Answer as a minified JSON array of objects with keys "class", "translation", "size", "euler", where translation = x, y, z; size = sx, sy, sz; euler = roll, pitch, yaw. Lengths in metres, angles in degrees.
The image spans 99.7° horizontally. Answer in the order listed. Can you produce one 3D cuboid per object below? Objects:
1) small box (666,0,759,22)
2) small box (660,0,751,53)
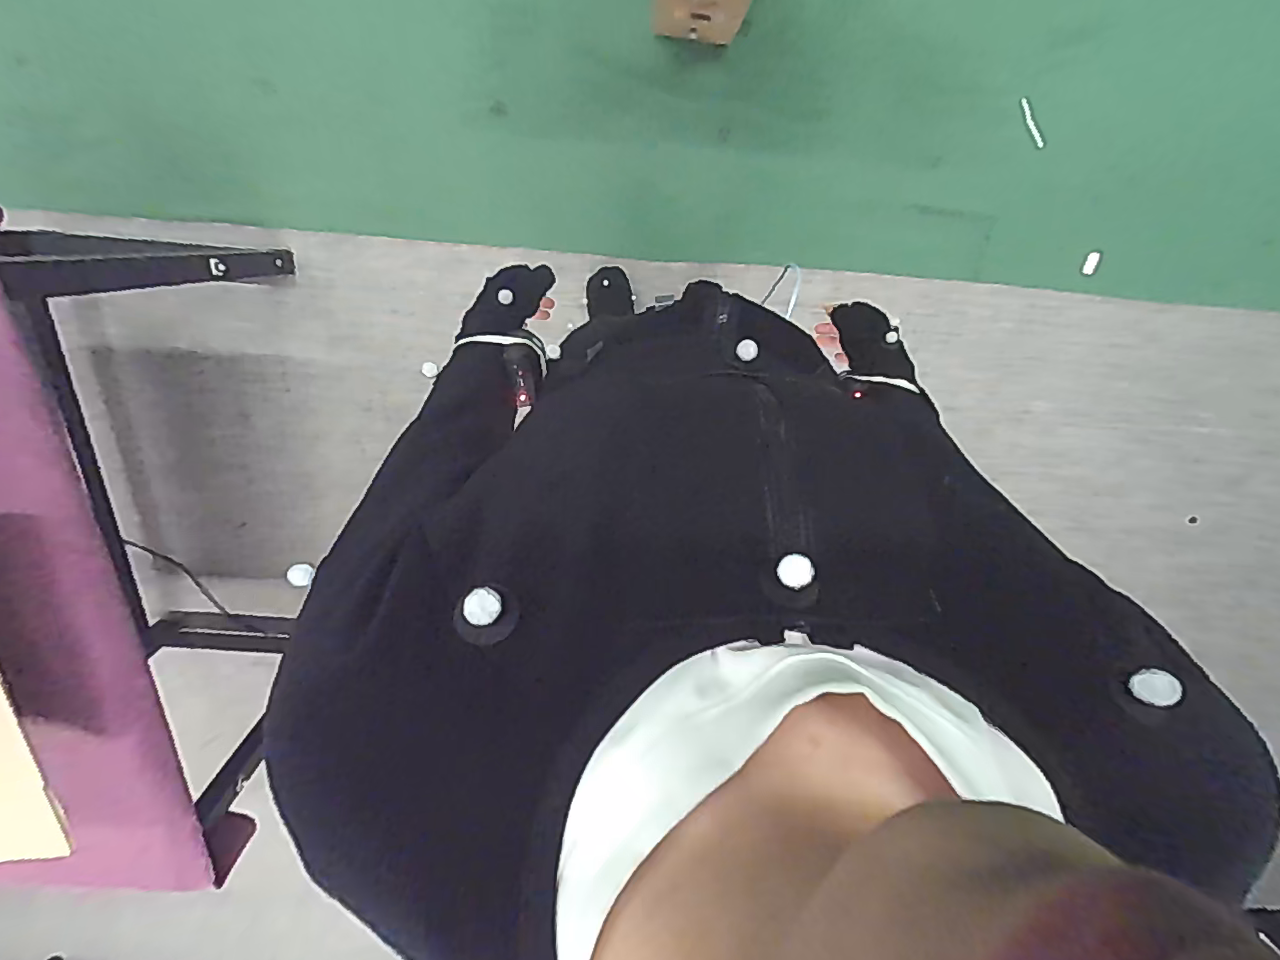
[{"class":"small box","translation":[0.133,-0.907,0.894],"size":[0.168,0.176,0.179],"euler":[4,113,-3]},{"class":"small box","translation":[0.132,-0.970,1.044],"size":[0.168,0.176,0.179],"euler":[6,113,-3]}]
